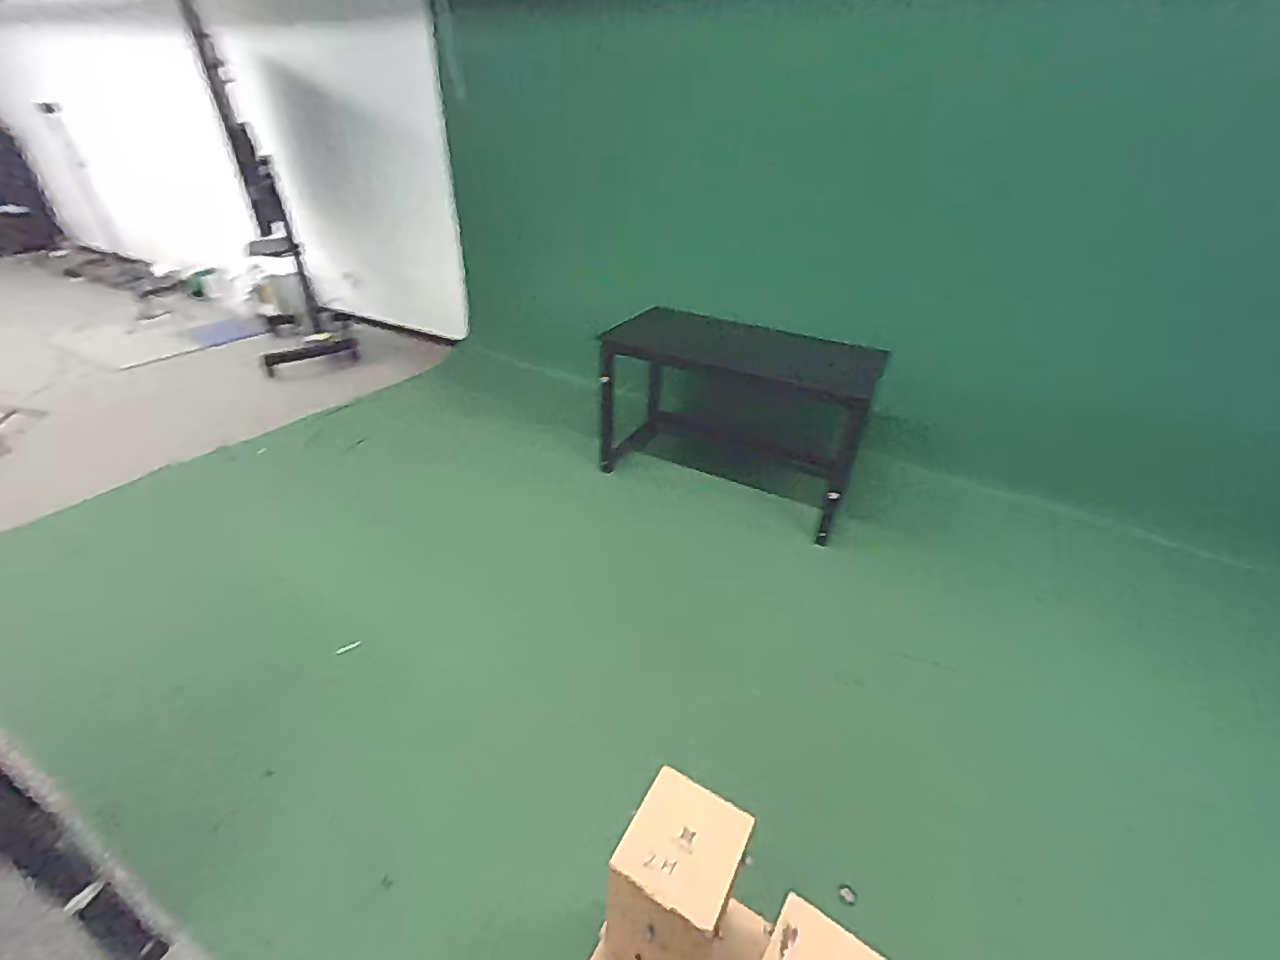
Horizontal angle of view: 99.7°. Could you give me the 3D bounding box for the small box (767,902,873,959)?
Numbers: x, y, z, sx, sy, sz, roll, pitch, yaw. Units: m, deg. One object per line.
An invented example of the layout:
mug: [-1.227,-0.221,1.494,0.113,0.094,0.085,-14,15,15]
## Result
small box: [0.272,0.821,0.835,0.179,0.176,0.168,23,37,30]

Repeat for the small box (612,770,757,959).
small box: [0.065,0.612,0.849,0.168,0.176,0.179,20,36,25]

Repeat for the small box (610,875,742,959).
small box: [0.057,0.749,0.940,0.168,0.176,0.179,21,37,25]
